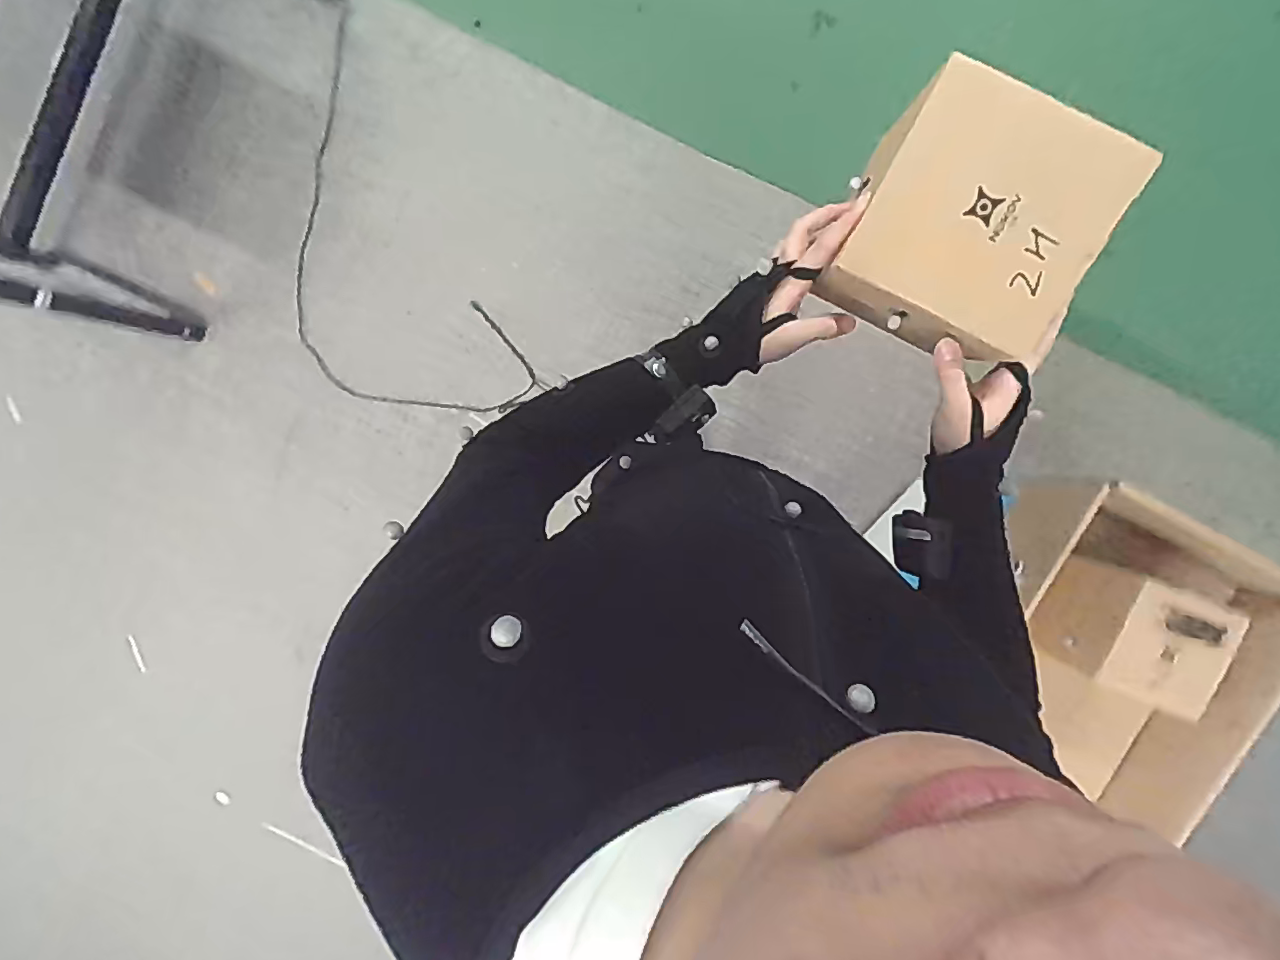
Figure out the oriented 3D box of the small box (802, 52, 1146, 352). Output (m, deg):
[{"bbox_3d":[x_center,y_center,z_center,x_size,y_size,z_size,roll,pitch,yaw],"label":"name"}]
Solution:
[{"bbox_3d":[0.272,-0.227,0.495,0.179,0.176,0.168,26,105,0],"label":"small box"}]
